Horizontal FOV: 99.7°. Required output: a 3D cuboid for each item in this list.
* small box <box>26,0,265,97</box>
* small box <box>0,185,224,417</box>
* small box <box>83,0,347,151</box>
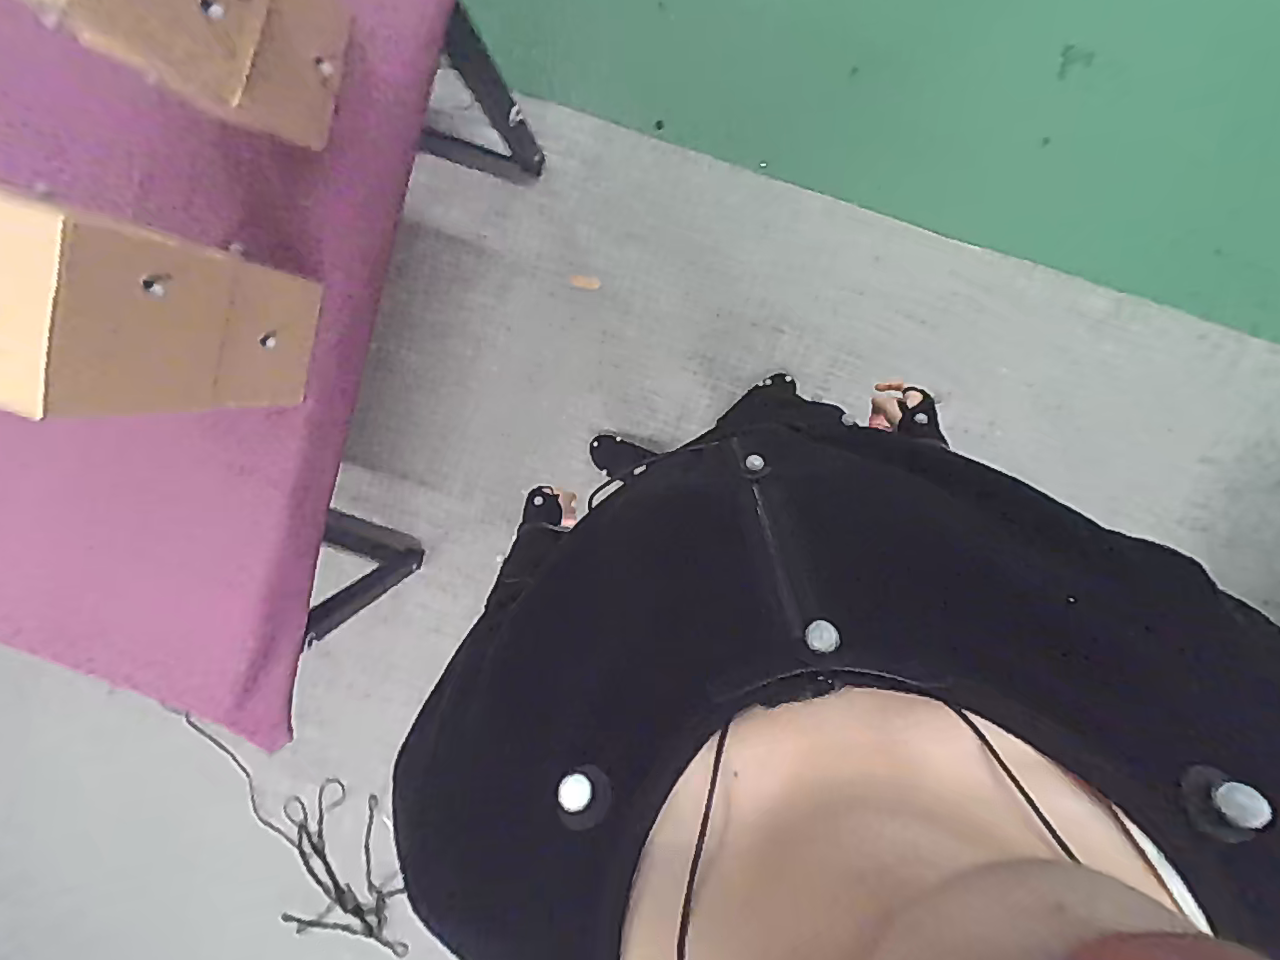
[{"bbox_3d":[-0.477,-0.486,0.473,0.179,0.176,0.168,26,100,-1],"label":"small box"},{"bbox_3d":[-0.556,-0.172,0.526,0.168,0.176,0.179,19,100,2],"label":"small box"},{"bbox_3d":[-0.479,-0.530,0.633,0.168,0.176,0.179,19,101,2],"label":"small box"}]
